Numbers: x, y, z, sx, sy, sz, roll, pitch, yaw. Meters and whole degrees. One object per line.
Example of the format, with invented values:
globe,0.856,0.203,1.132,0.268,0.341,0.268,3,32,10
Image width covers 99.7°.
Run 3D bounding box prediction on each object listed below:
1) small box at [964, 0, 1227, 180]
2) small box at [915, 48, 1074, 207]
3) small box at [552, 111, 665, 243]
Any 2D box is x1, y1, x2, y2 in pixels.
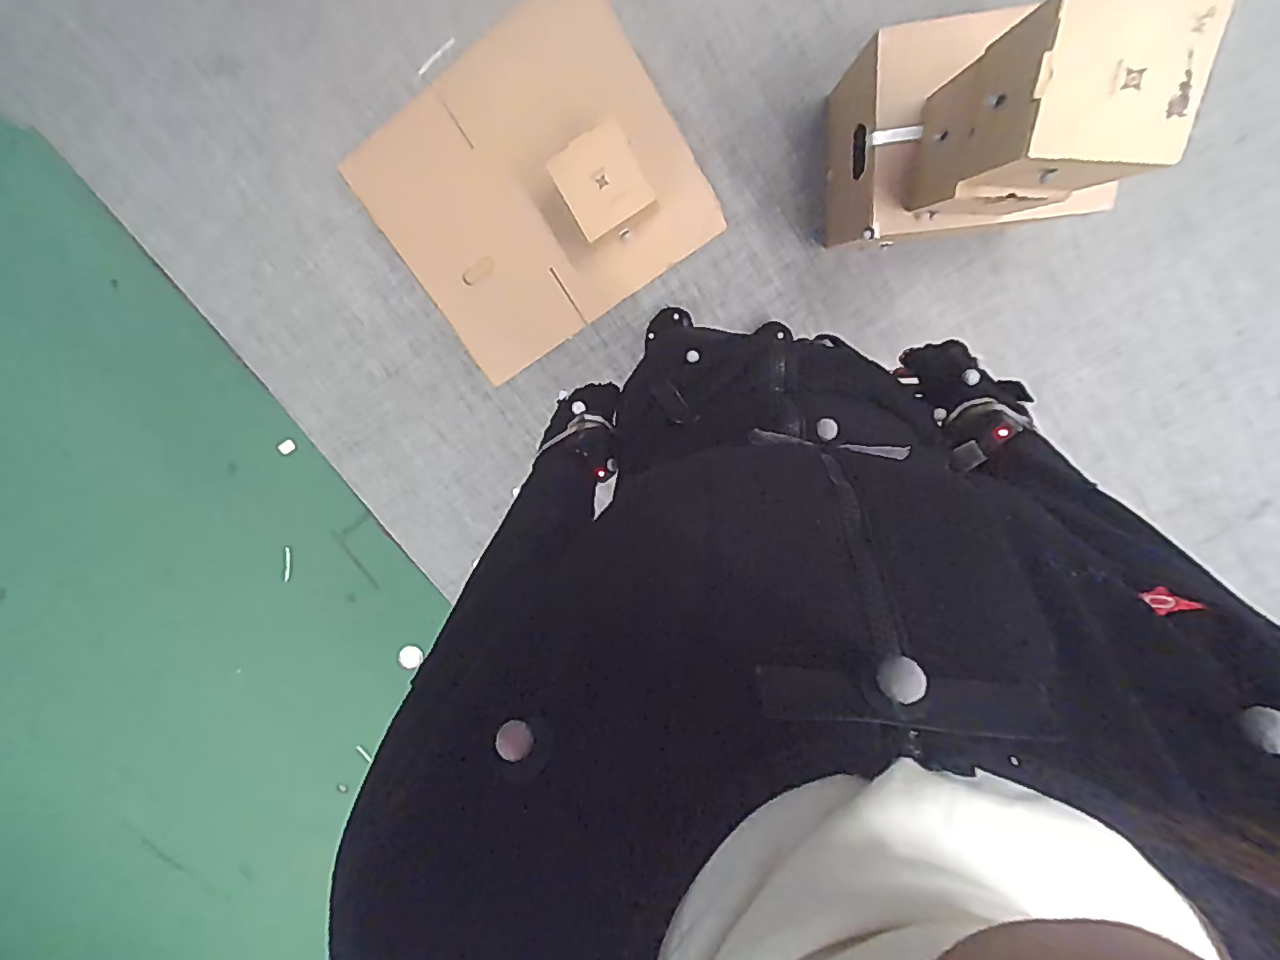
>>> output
small box,0.539,-0.480,0.669,0.179,0.176,0.168,2,108,3
small box,0.545,-0.522,0.825,0.168,0.176,0.179,3,109,4
small box,-0.060,-0.631,1.152,0.168,0.176,0.179,-28,105,15
